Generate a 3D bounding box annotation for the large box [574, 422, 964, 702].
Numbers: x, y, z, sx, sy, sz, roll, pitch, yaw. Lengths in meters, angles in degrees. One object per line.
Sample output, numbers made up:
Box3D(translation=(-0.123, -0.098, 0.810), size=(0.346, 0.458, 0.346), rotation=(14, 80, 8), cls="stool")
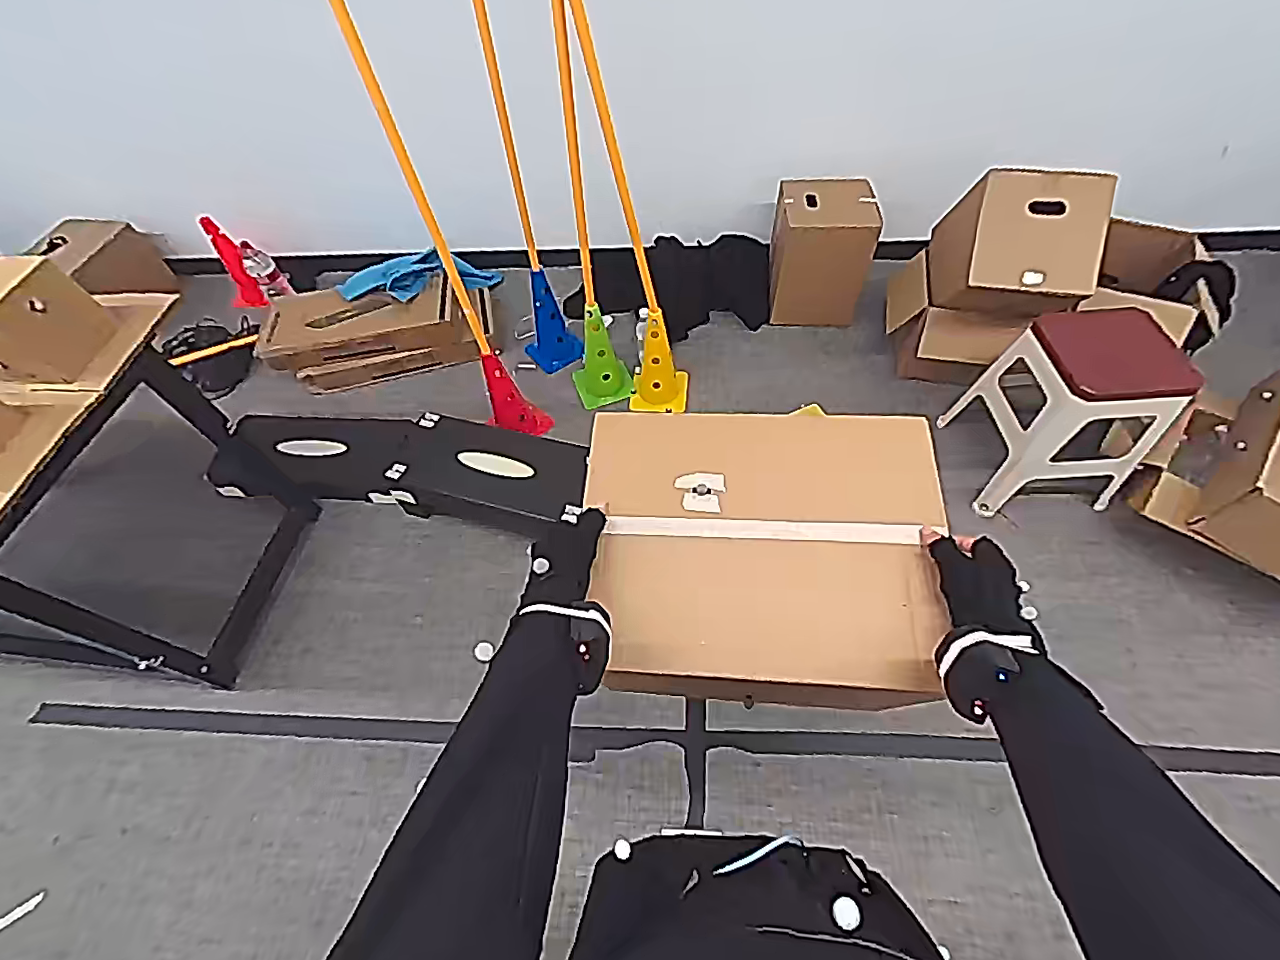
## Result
Box3D(translation=(0.151, 0.129, 0.751), size=(0.408, 0.320, 0.320), rotation=(1, 64, 7), cls="large box")
